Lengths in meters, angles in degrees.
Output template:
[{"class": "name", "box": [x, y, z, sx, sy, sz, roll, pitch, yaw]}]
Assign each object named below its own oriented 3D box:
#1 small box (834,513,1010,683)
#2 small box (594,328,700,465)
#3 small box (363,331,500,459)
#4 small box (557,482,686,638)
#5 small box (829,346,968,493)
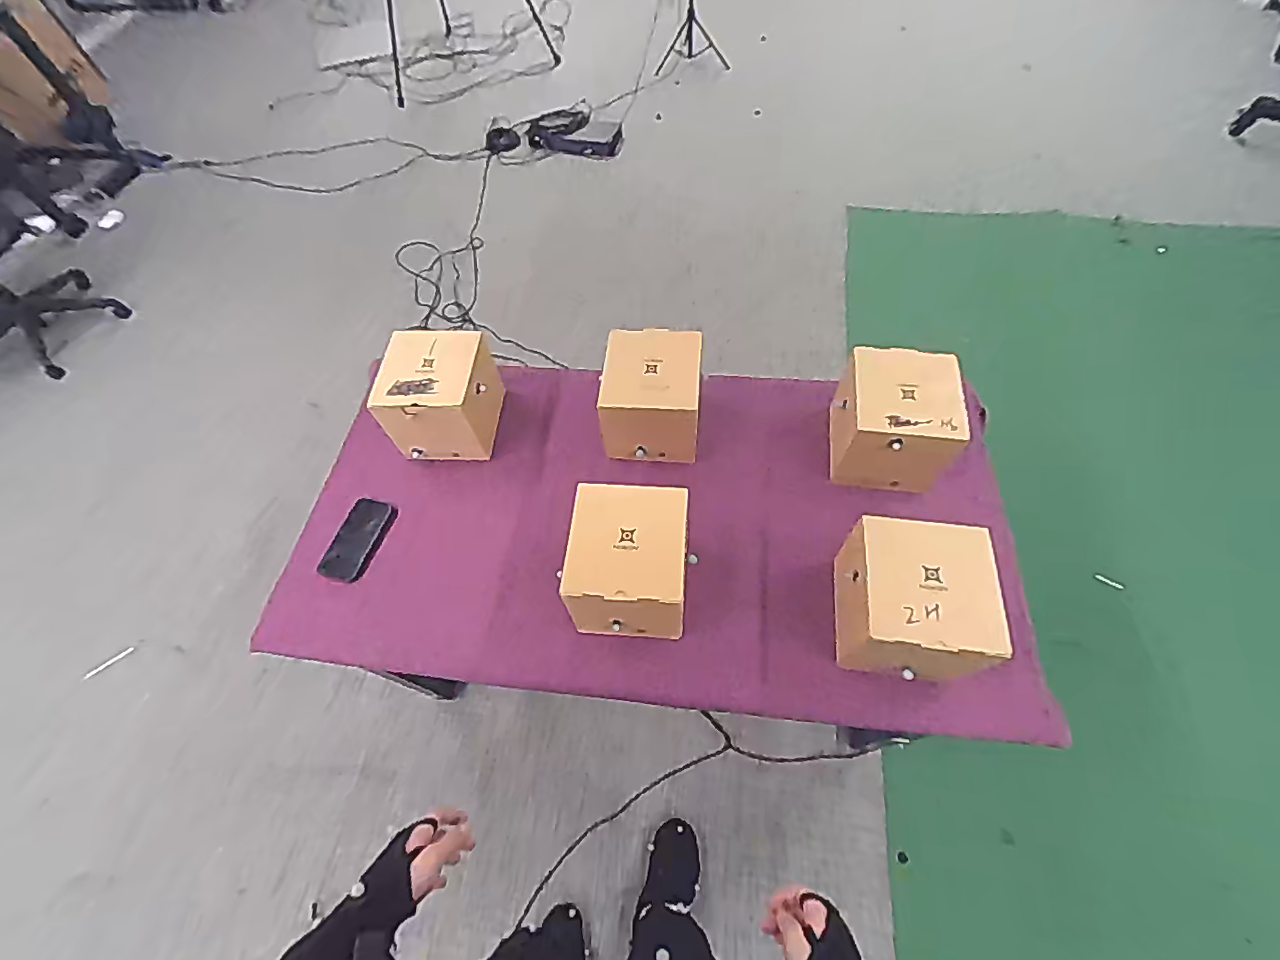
[{"class": "small box", "box": [0.375, 0.168, 0.756, 0.168, 0.176, 0.179, 6, 60, 9]}, {"class": "small box", "box": [0.018, -0.149, 0.974, 0.168, 0.176, 0.179, 3, 60, 6]}, {"class": "small box", "box": [-0.370, -0.152, 0.997, 0.168, 0.176, 0.179, 1, 58, 4]}, {"class": "small box", "box": [-0.019, 0.123, 0.813, 0.168, 0.176, 0.179, 3, 59, 5]}, {"class": "small box", "box": [0.423, -0.101, 0.919, 0.168, 0.176, 0.179, 6, 59, 8]}]
